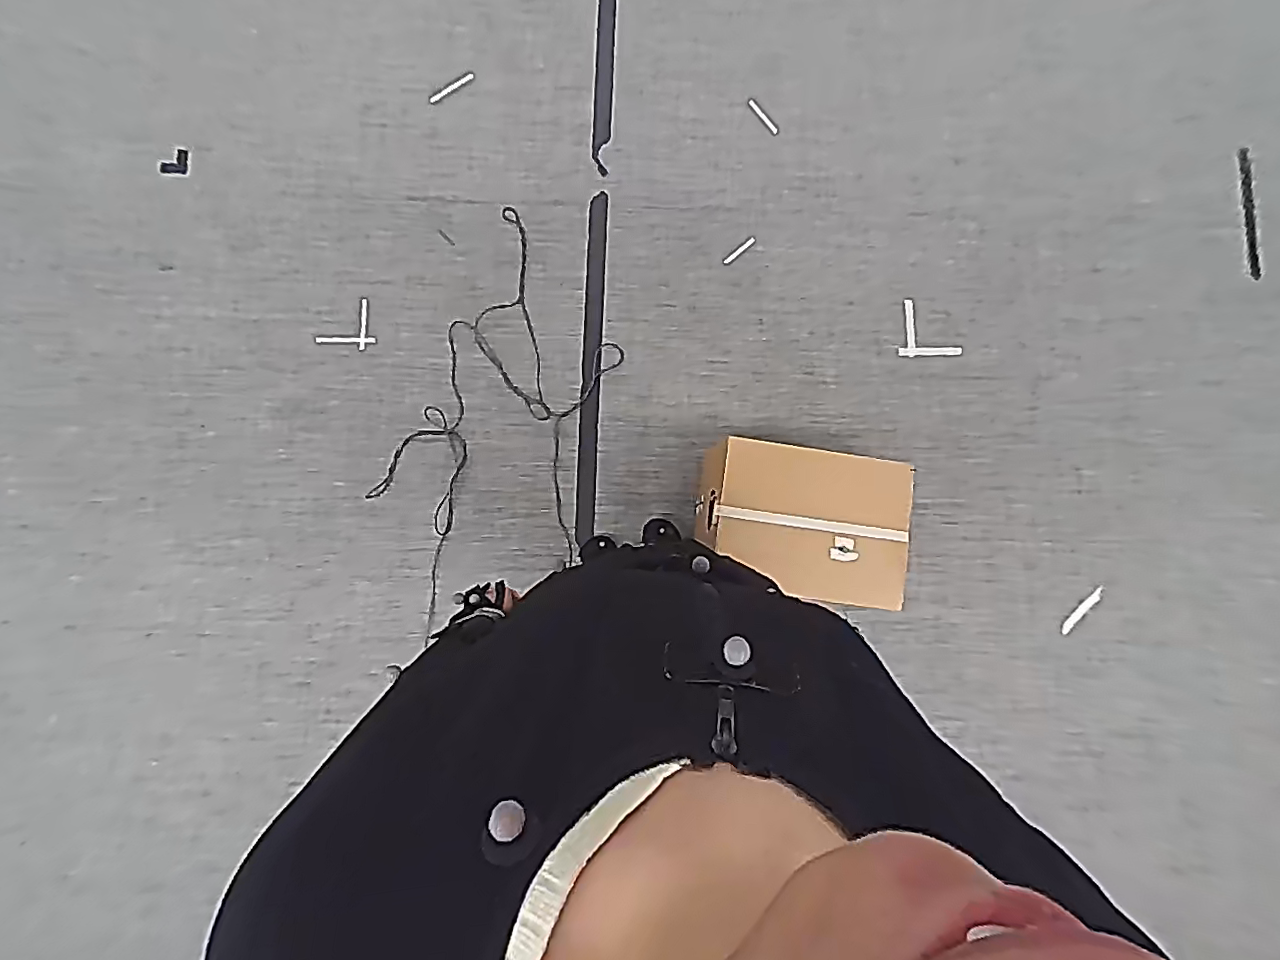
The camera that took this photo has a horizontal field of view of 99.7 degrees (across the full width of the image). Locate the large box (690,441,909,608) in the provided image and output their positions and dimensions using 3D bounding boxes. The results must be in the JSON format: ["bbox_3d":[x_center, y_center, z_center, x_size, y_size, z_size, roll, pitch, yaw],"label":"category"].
[{"bbox_3d":[0.349,0.106,1.273,0.408,0.320,0.320,8,85,-3],"label":"large box"}]
